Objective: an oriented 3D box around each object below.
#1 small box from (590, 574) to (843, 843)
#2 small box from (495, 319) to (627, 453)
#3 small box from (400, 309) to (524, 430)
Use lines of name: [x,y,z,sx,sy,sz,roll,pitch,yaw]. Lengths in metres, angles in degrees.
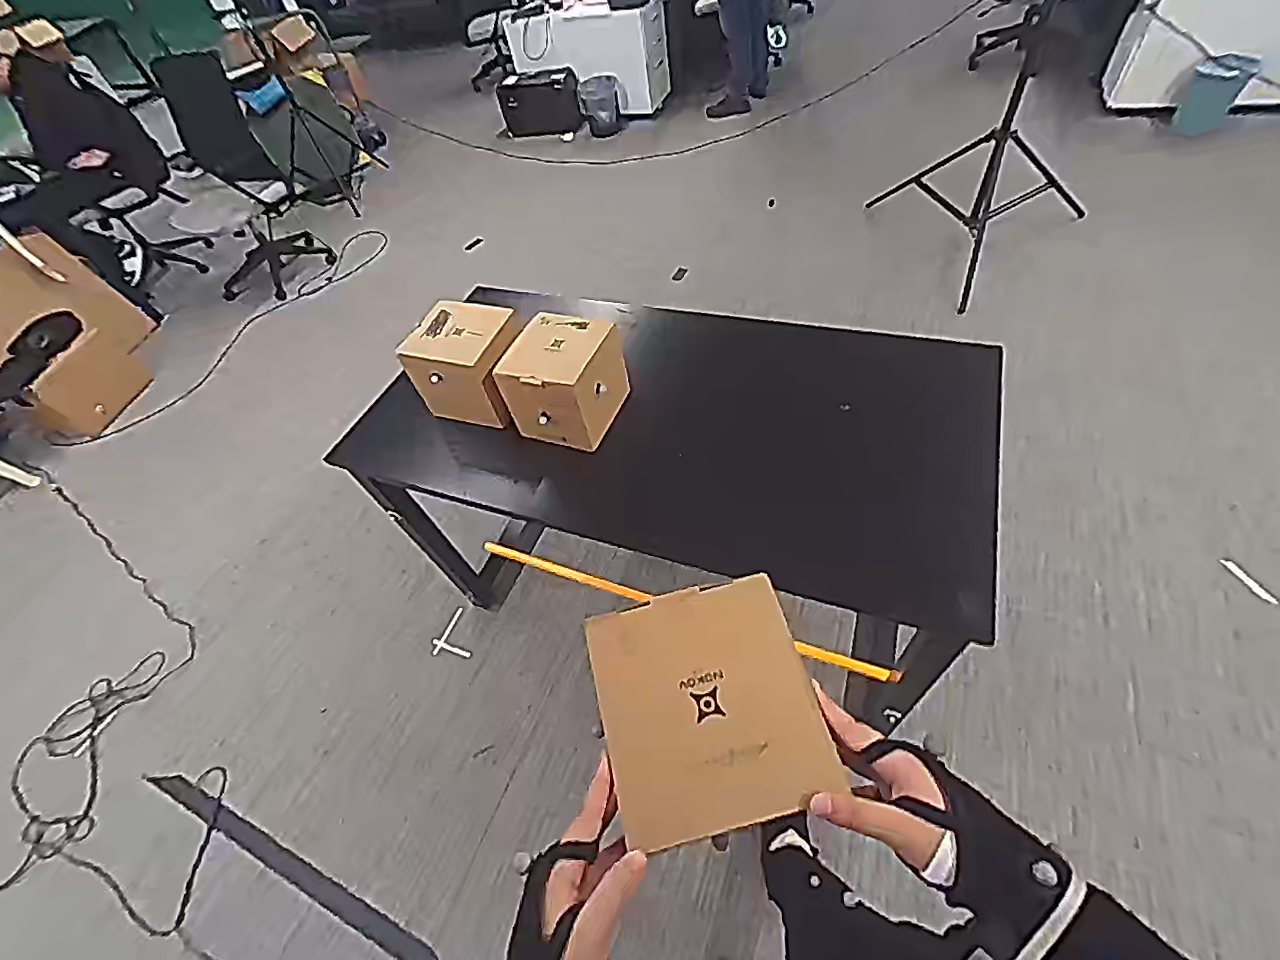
small box: [0.057,0.213,0.501,0.168,0.176,0.179,-14,59,-4]
small box: [-0.138,-0.175,1.023,0.168,0.176,0.179,14,57,20]
small box: [-0.335,-0.222,1.095,0.179,0.176,0.168,12,56,18]
